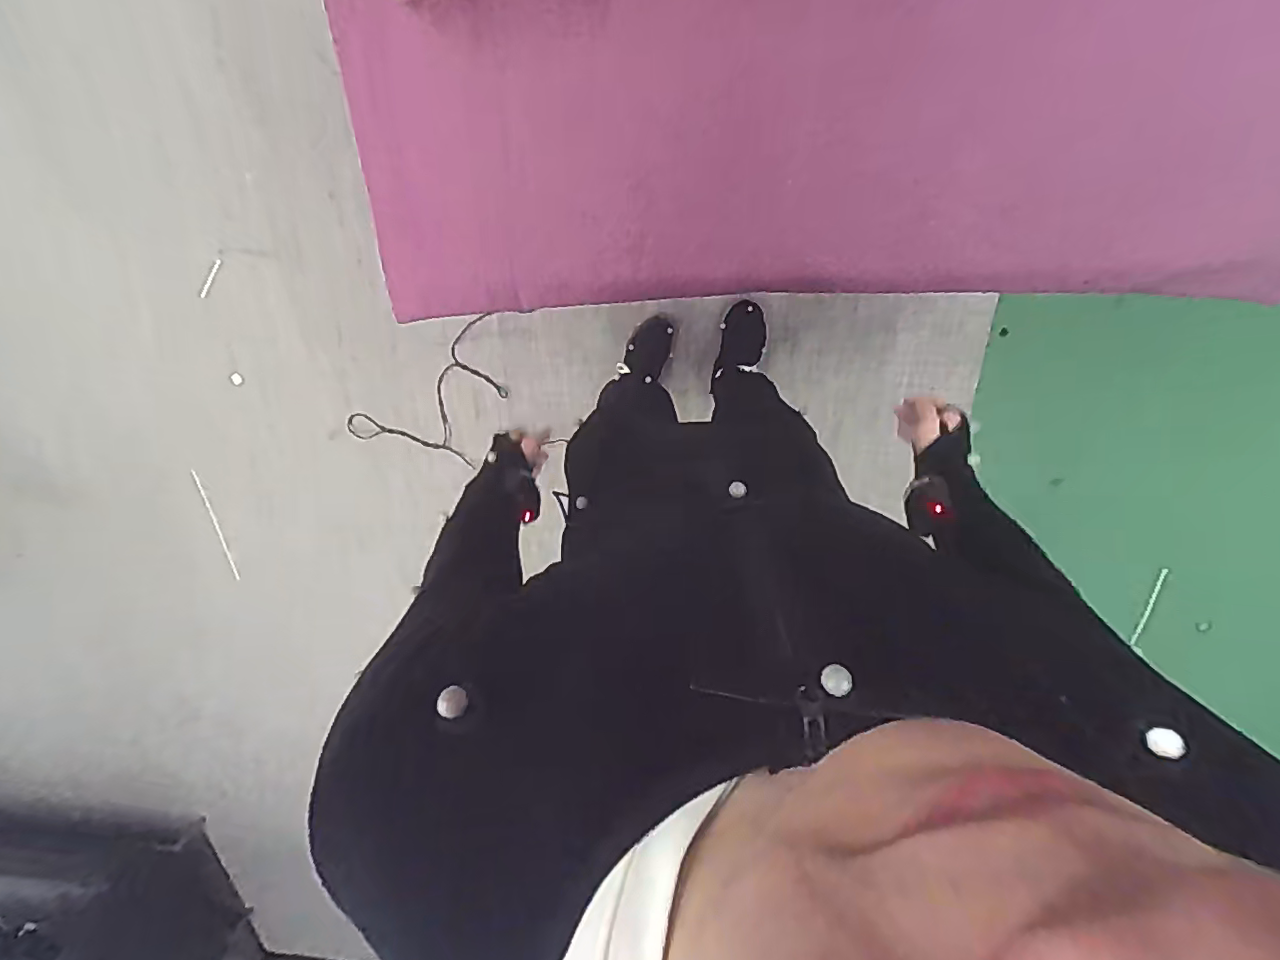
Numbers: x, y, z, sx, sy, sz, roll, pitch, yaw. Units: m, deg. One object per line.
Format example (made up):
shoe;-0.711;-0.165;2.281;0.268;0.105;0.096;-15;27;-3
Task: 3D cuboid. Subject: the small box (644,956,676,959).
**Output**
small box;0.089;1.673;1.731;0.168;0.176;0.179;-1;113;9
